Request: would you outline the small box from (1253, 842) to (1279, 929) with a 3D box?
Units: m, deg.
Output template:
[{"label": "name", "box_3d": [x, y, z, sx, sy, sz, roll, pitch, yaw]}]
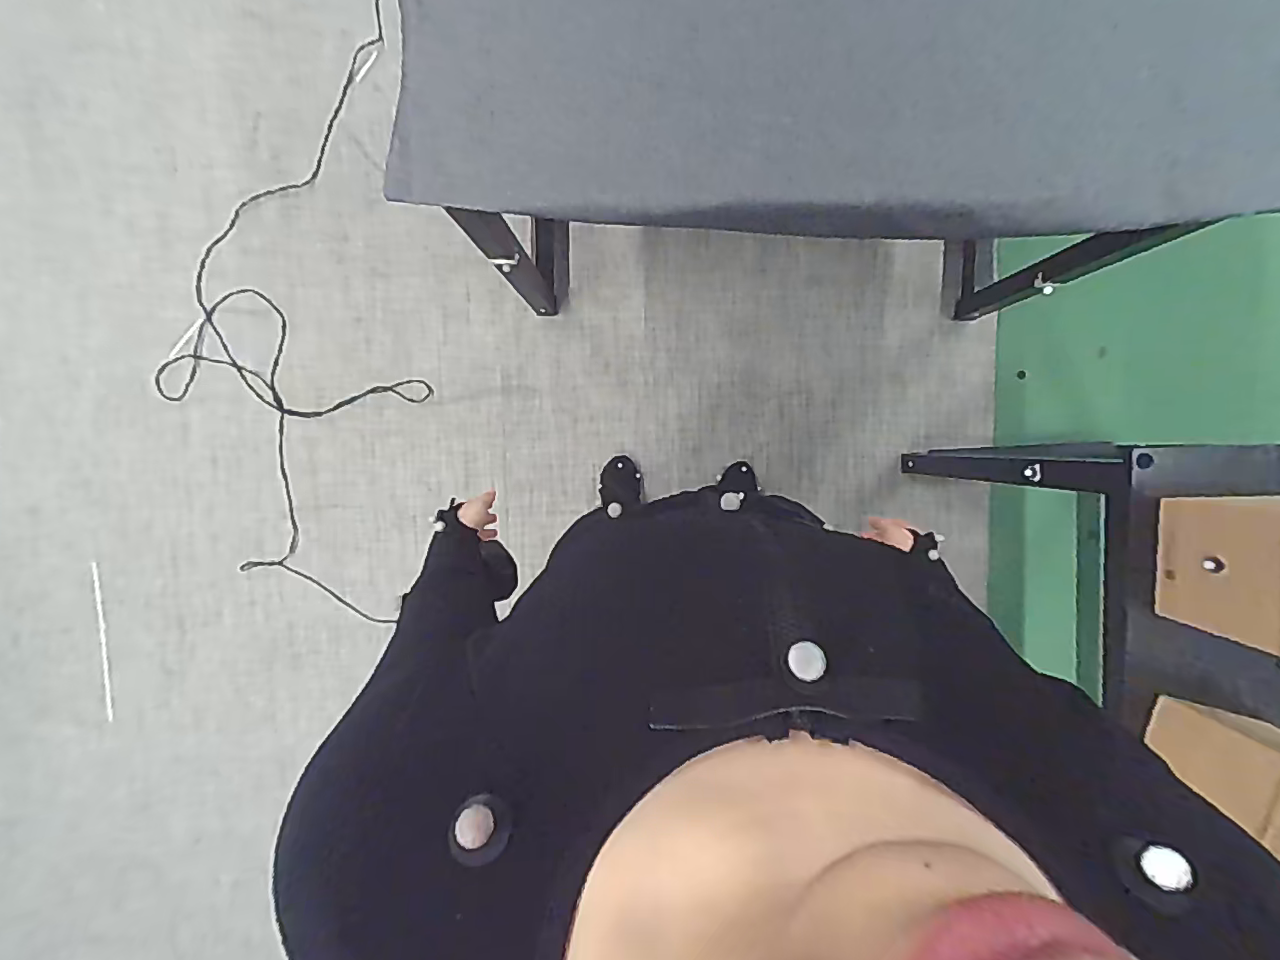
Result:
[{"label": "small box", "box_3d": [0.776, 0.430, 0.517, 0.179, 0.176, 0.168, 17, 95, 0]}]

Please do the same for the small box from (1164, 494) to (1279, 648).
[{"label": "small box", "box_3d": [0.801, 0.108, 0.658, 0.179, 0.176, 0.168, -1, 95, 2]}]
